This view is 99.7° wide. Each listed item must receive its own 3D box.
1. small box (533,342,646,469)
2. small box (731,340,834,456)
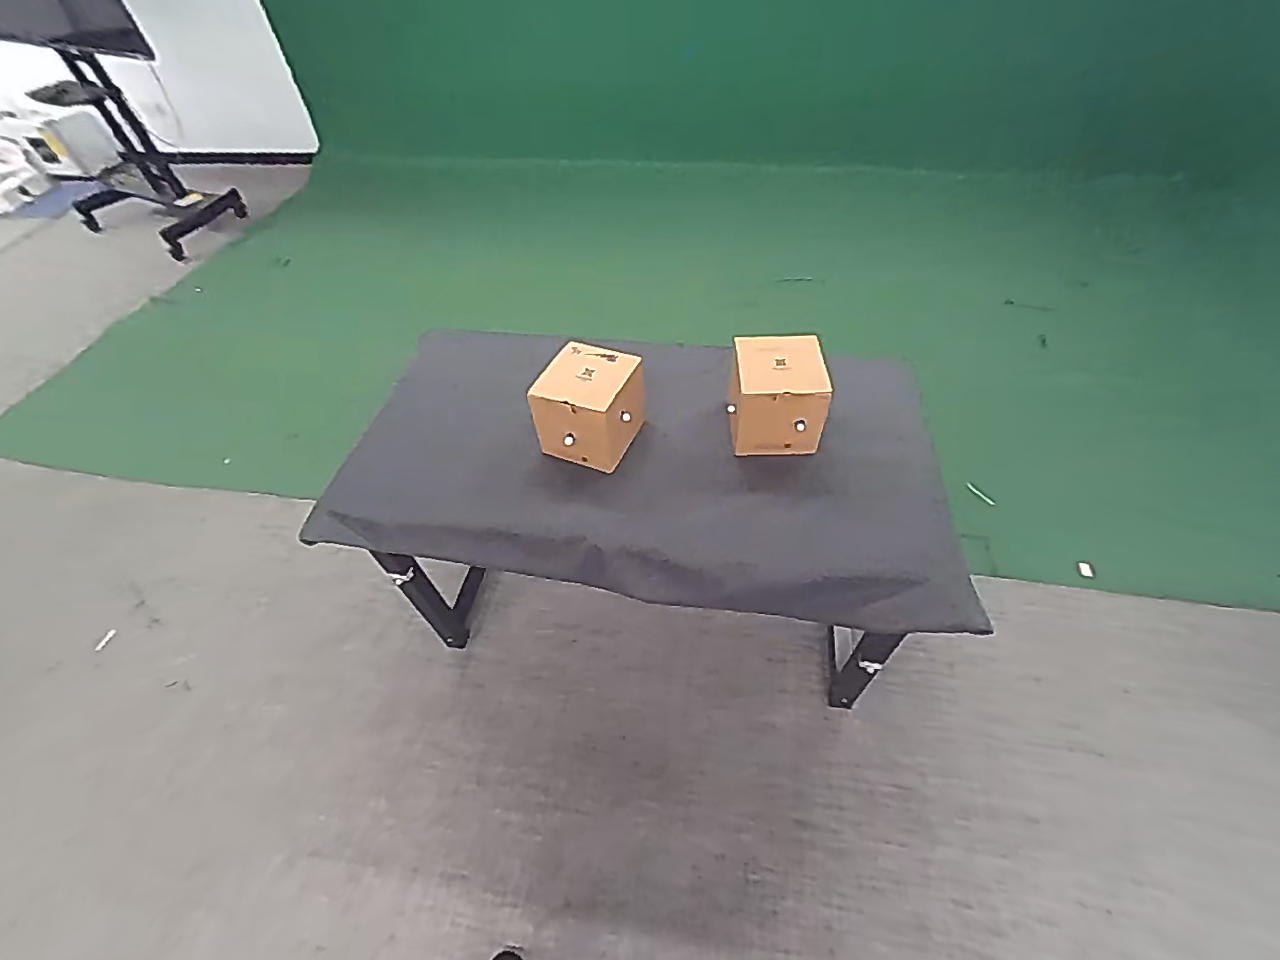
[{"bbox_3d":[-0.092,-0.149,1.107,0.168,0.176,0.179,18,54,16],"label":"small box"},{"bbox_3d":[0.279,-0.164,1.102,0.168,0.176,0.179,1,49,2],"label":"small box"}]
